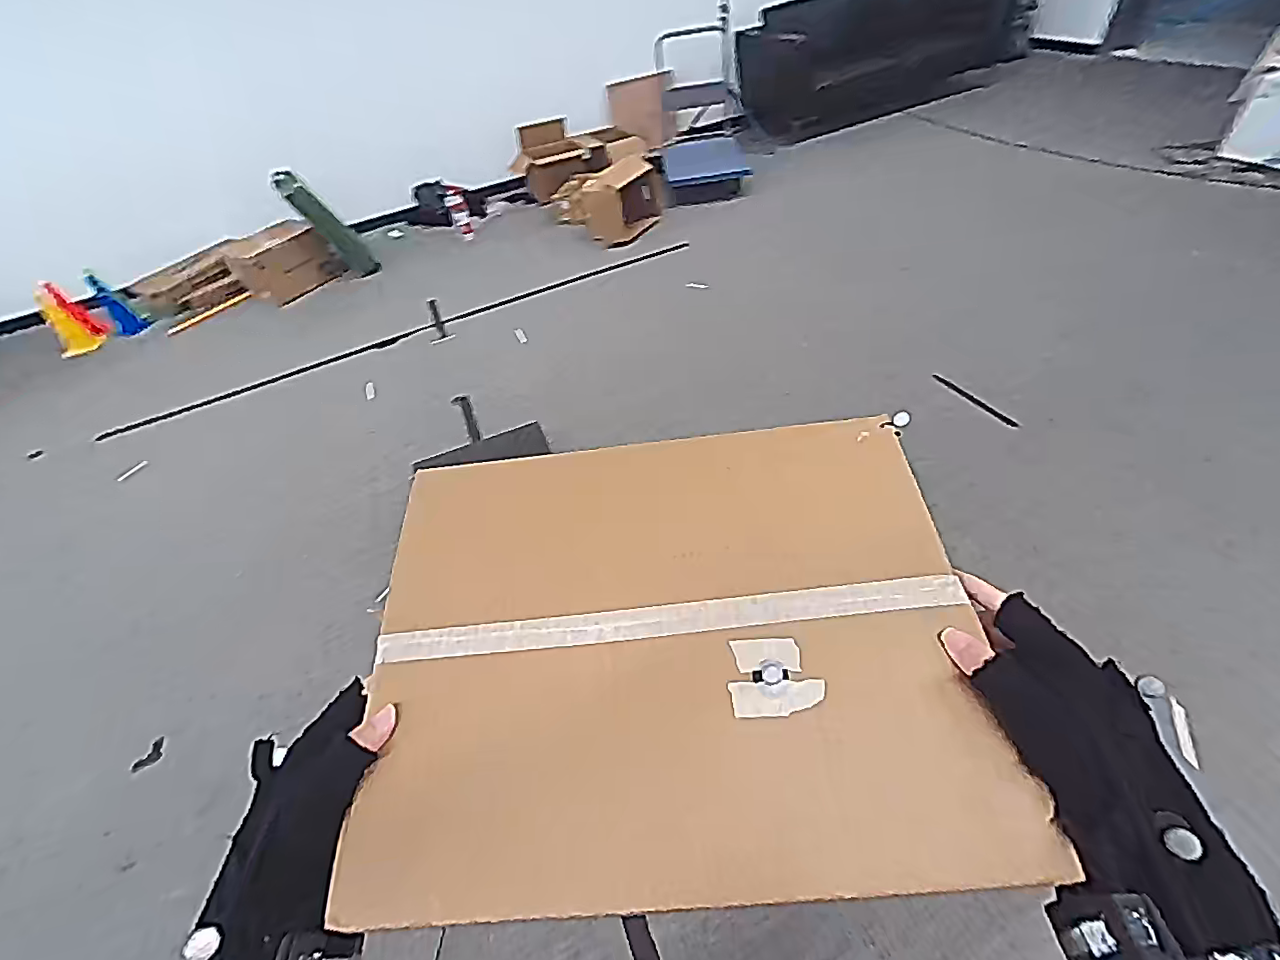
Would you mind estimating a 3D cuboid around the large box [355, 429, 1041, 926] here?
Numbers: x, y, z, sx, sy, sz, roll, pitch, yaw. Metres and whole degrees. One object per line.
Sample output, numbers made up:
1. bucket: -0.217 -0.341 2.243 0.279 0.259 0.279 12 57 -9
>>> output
1. large box: 0.030 0.189 0.511 0.408 0.320 0.320 -7 56 2
